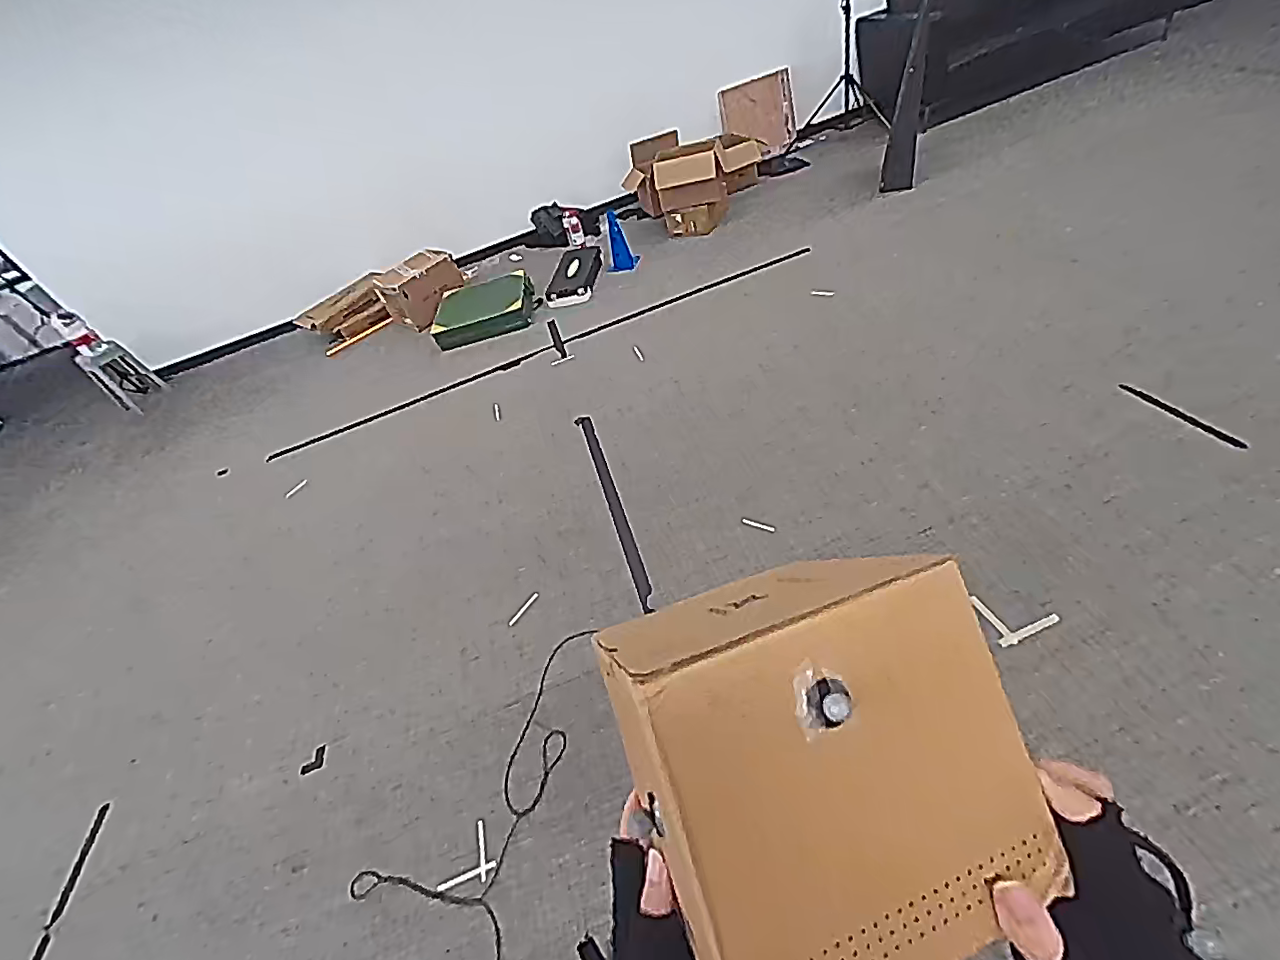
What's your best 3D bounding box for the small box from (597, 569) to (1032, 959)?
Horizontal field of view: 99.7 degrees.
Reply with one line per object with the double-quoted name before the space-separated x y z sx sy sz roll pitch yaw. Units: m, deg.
"small box" 0.087 0.163 0.334 0.179 0.168 0.176 -16 84 -13
